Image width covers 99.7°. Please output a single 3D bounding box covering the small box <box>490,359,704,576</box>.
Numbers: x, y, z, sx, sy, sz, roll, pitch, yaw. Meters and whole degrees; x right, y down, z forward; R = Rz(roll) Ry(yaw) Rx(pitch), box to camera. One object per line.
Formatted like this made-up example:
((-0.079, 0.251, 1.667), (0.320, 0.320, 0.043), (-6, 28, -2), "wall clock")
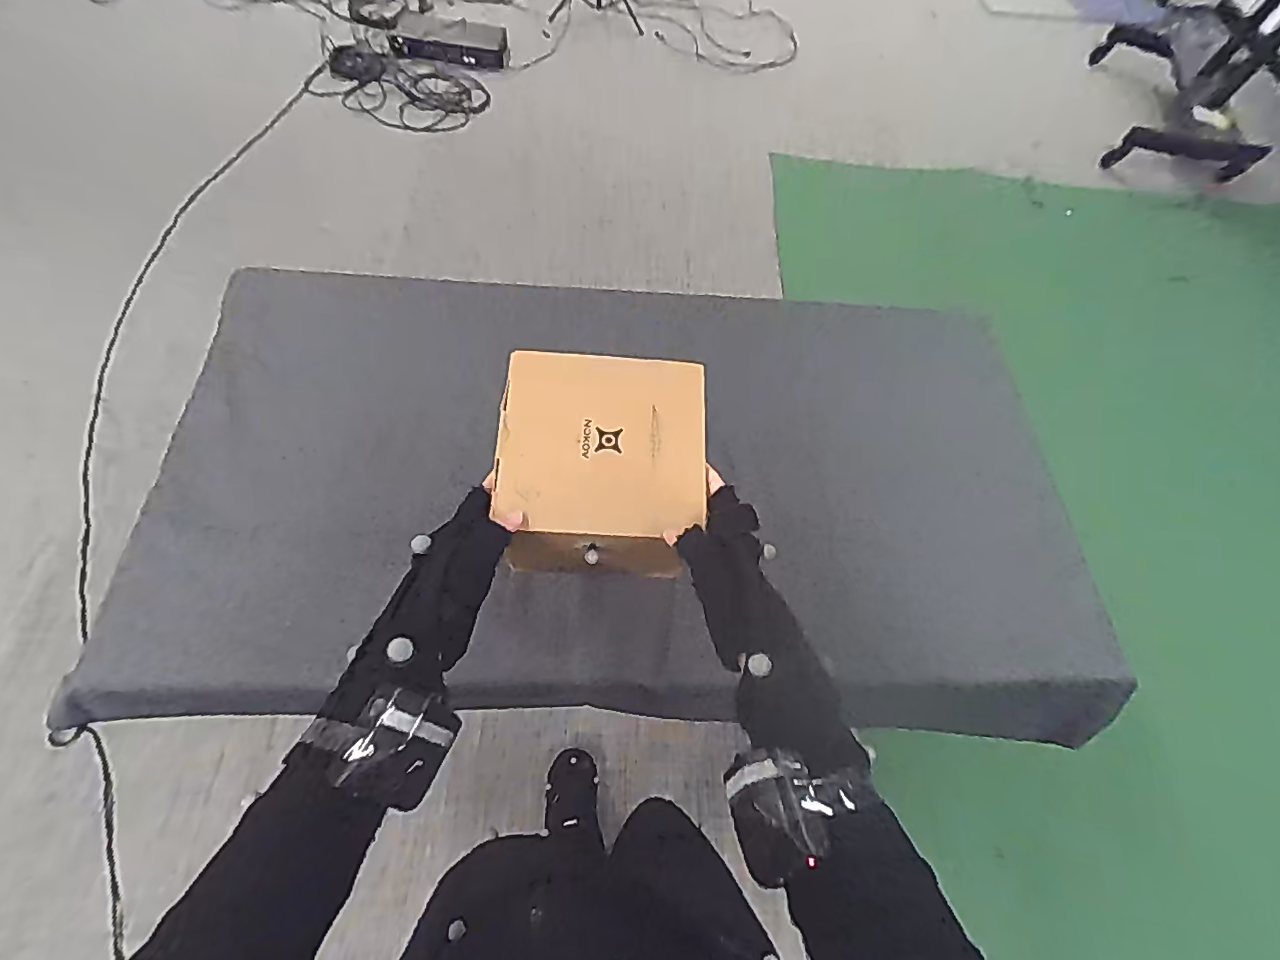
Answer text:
((-0.041, -0.001, 0.538), (0.179, 0.176, 0.168), (3, 70, -7), "small box")
